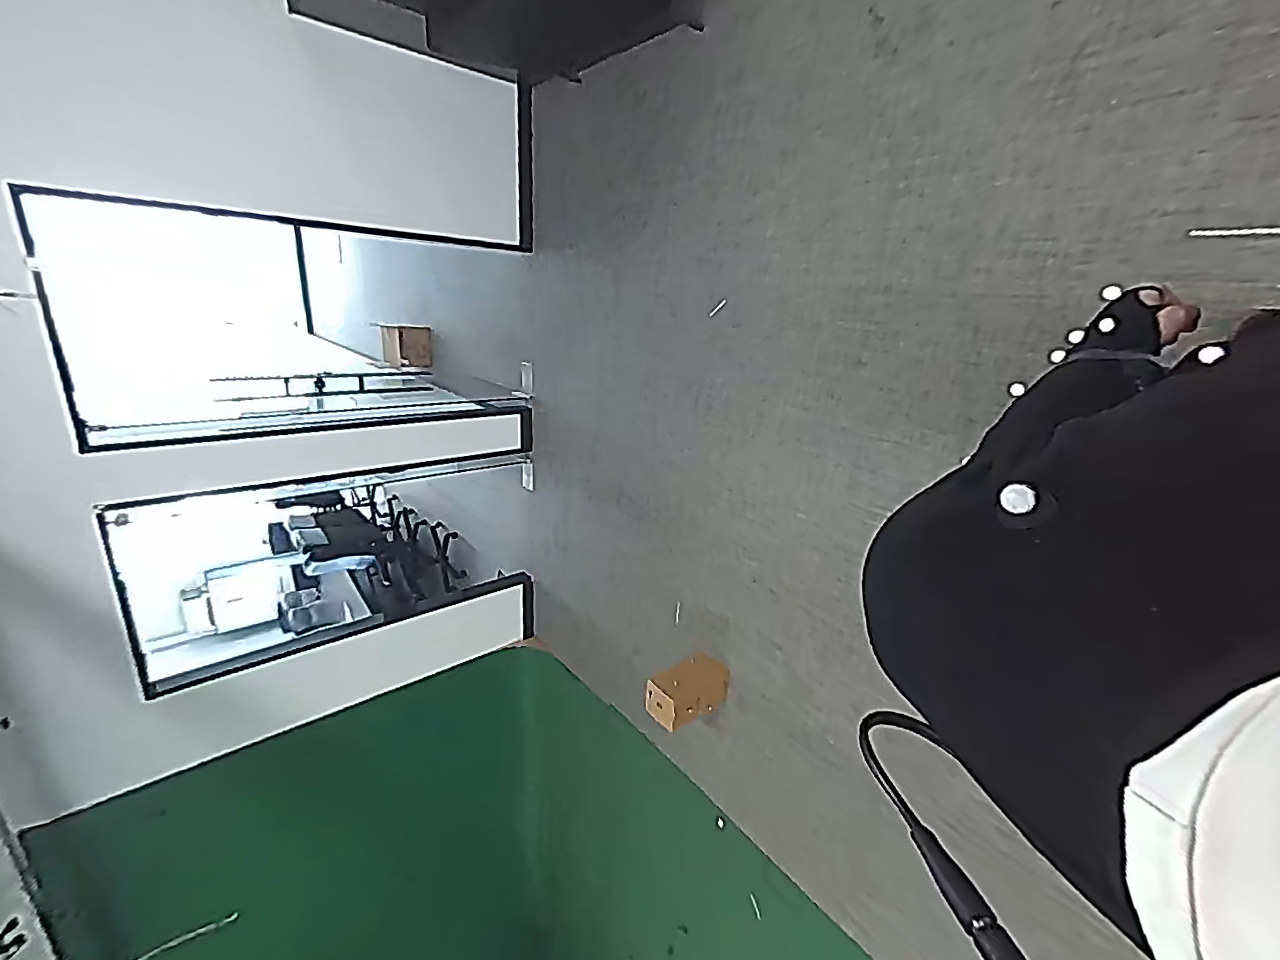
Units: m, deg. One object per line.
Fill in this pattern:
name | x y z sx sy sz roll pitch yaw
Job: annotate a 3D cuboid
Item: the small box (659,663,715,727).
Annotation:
small box | 0.205 0.925 2.349 0.179 0.176 0.168 24 117 47
